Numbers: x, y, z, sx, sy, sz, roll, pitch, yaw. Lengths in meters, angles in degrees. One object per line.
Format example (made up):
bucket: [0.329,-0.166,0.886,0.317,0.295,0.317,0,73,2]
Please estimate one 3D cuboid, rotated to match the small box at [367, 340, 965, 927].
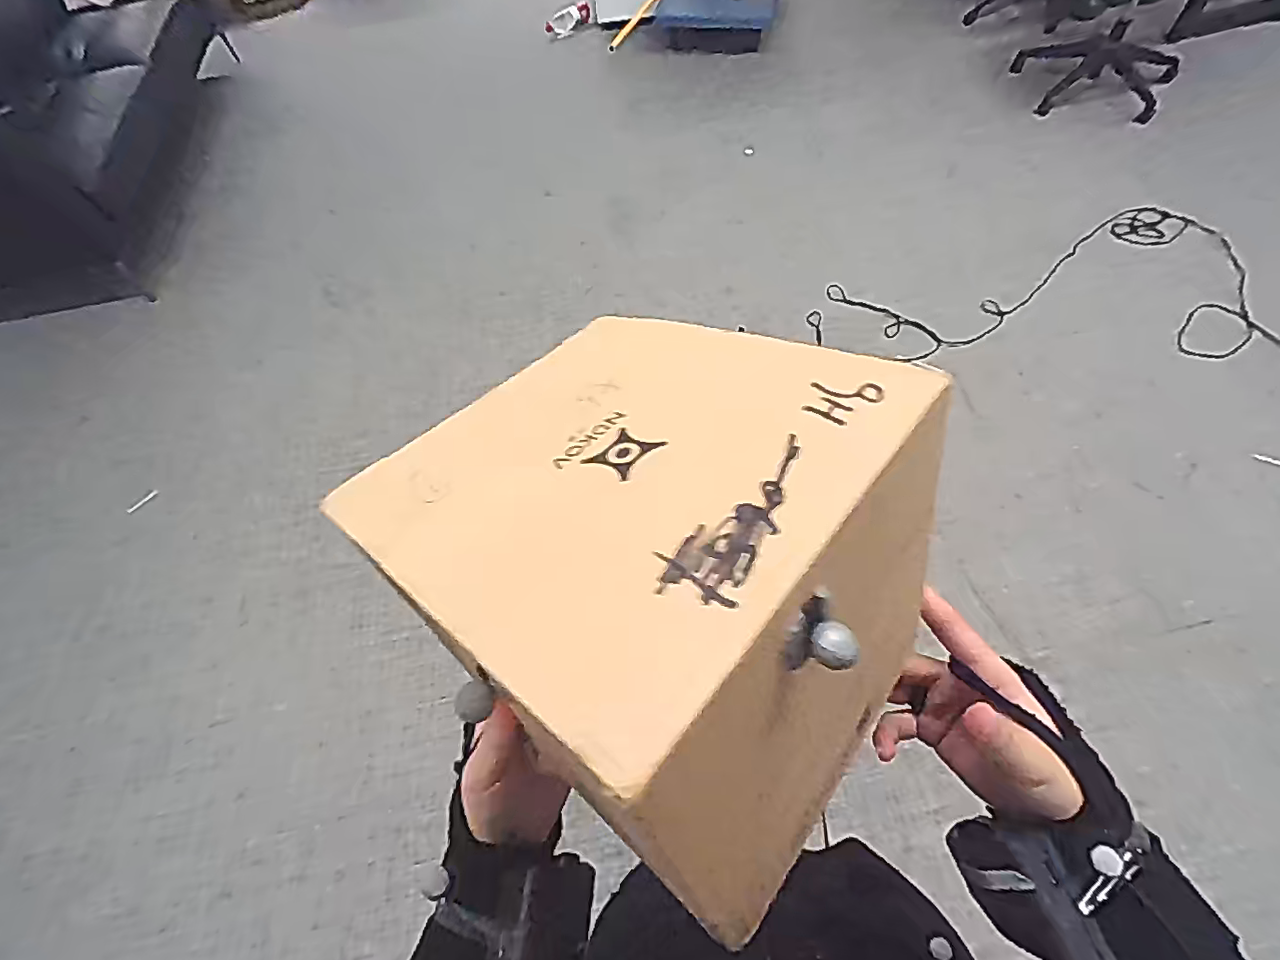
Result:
small box: [0.019,0.056,0.254,0.179,0.176,0.168,22,54,39]
